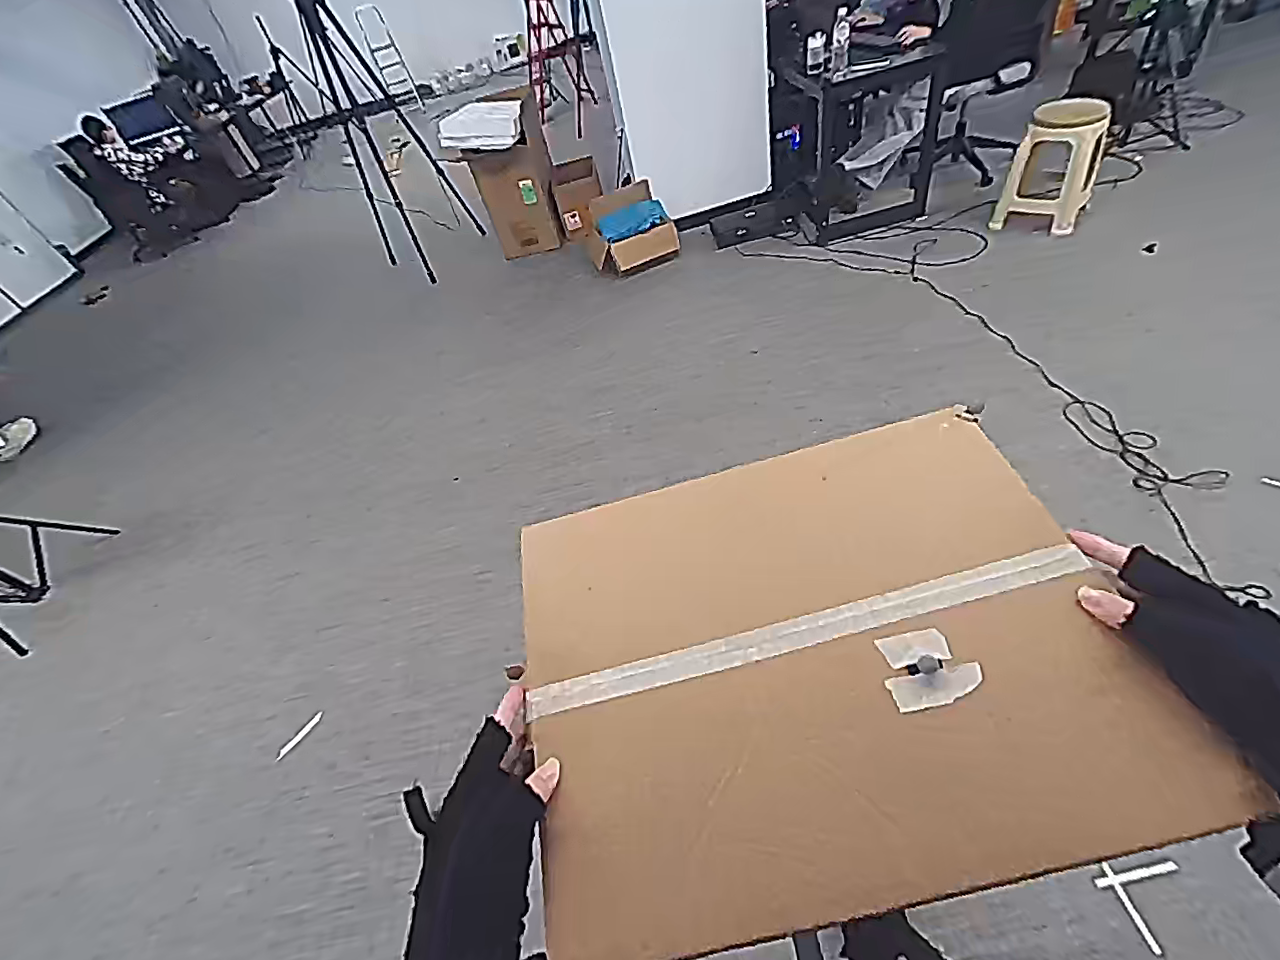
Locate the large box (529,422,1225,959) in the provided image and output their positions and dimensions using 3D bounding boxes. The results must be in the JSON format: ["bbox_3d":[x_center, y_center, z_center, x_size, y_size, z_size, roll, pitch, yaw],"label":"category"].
[{"bbox_3d":[0.144,0.205,0.520,0.408,0.320,0.320,-16,53,2],"label":"large box"}]
